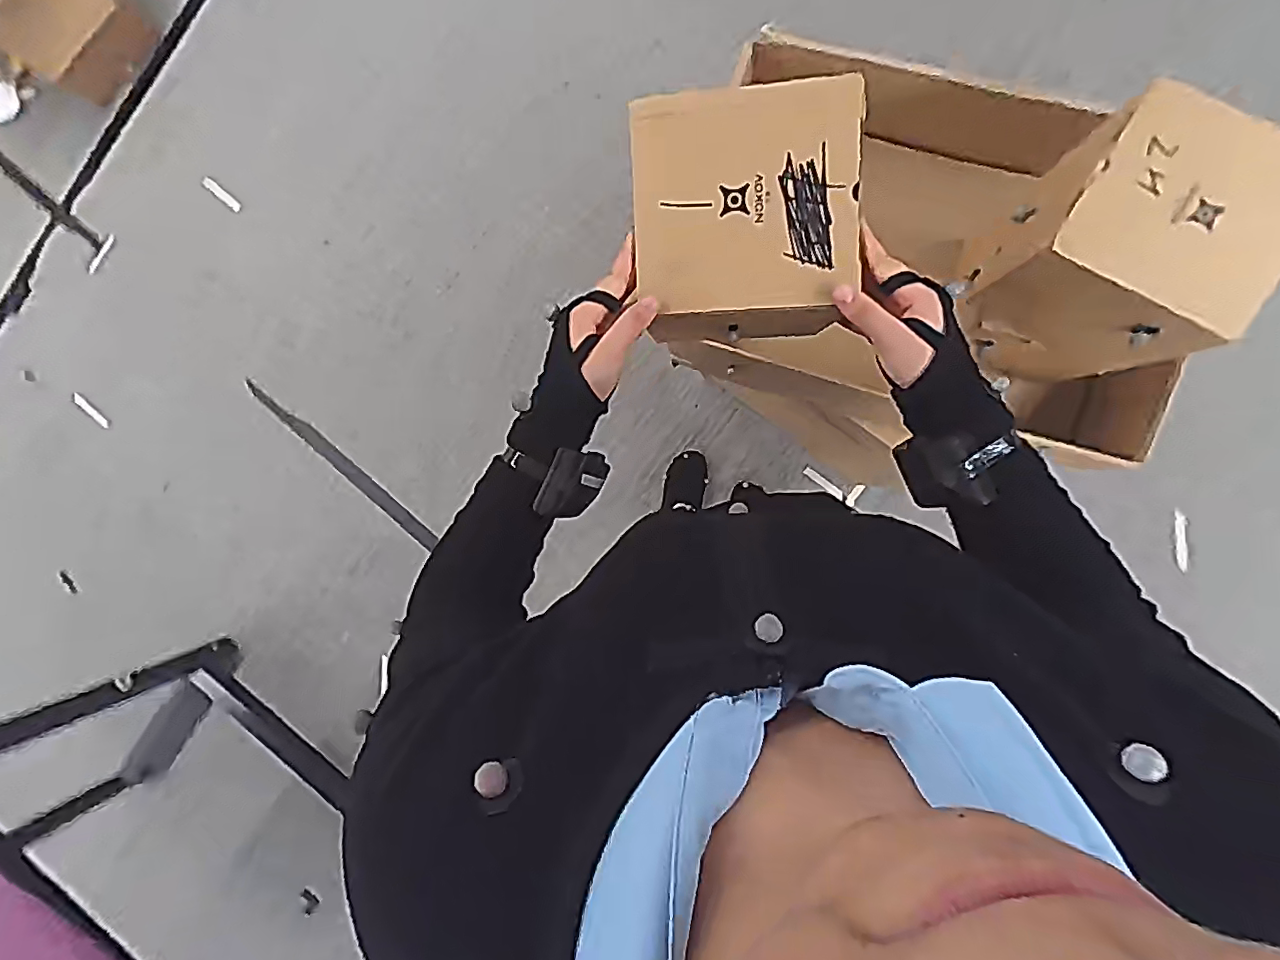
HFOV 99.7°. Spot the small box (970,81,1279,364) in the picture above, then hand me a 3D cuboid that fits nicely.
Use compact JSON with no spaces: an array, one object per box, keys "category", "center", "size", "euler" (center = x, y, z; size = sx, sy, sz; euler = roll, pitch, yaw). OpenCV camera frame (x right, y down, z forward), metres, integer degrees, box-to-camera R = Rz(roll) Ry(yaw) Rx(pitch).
[{"category":"small box","center":[0.484,-0.232,0.540],"size":[0.179,0.176,0.168],"euler":[32,96,6]}]

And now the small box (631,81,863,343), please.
[{"category":"small box","center":[0.089,-0.222,0.496],"size":[0.179,0.176,0.168],"euler":[-2,96,7]}]
